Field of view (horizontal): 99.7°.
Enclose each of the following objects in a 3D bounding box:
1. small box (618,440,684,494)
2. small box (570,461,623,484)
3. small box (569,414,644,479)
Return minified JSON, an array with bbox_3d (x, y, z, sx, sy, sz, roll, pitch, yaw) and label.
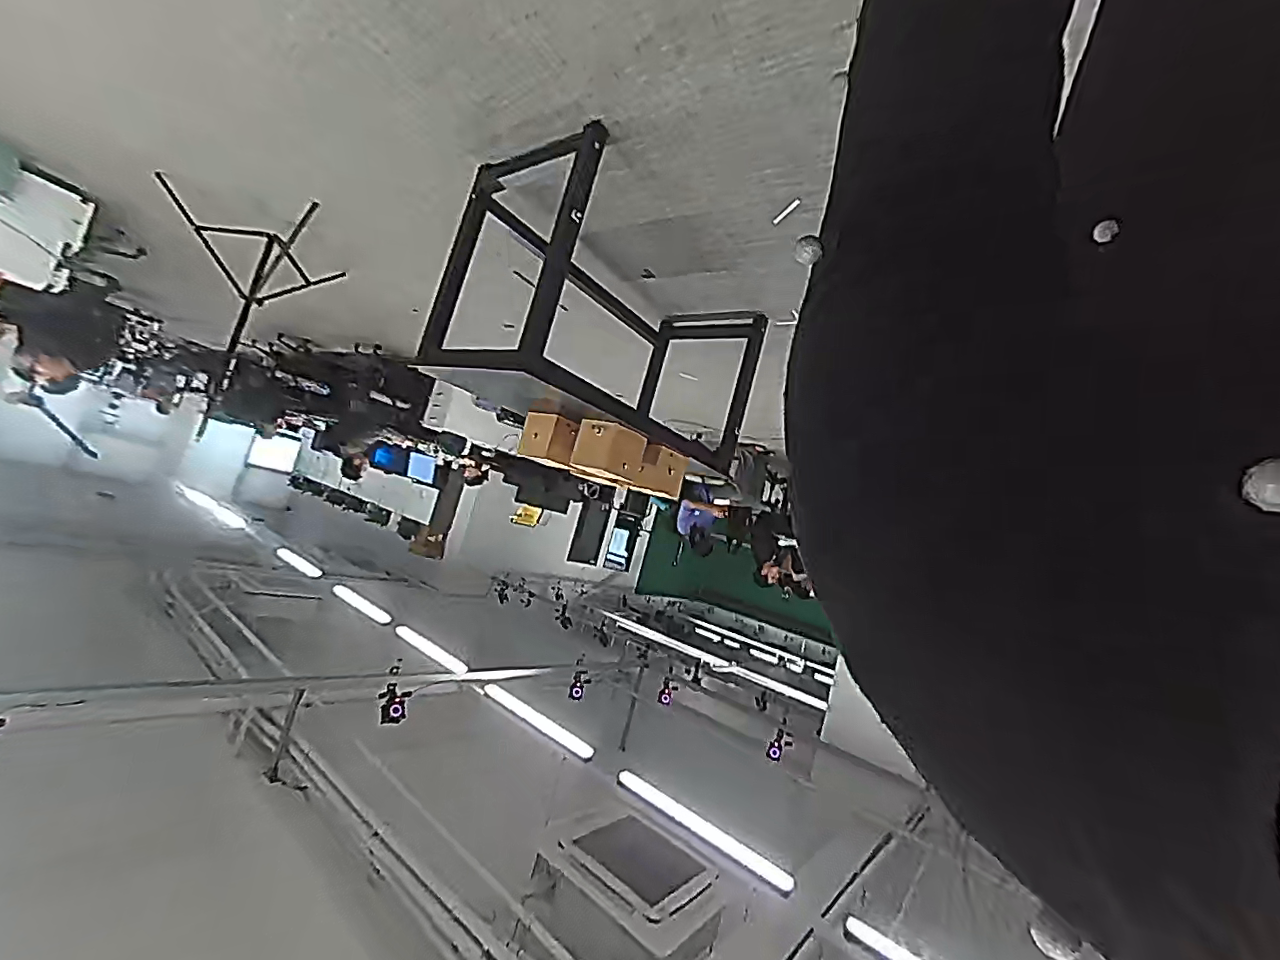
[{"bbox_3d":[0.048,-0.053,2.046,0.179,0.176,0.168,10,173,44],"label":"small box"},{"bbox_3d":[-0.154,-0.094,2.222,0.179,0.176,0.168,11,173,37],"label":"small box"},{"bbox_3d":[-0.109,-0.115,1.853,0.168,0.176,0.179,11,172,39],"label":"small box"}]
